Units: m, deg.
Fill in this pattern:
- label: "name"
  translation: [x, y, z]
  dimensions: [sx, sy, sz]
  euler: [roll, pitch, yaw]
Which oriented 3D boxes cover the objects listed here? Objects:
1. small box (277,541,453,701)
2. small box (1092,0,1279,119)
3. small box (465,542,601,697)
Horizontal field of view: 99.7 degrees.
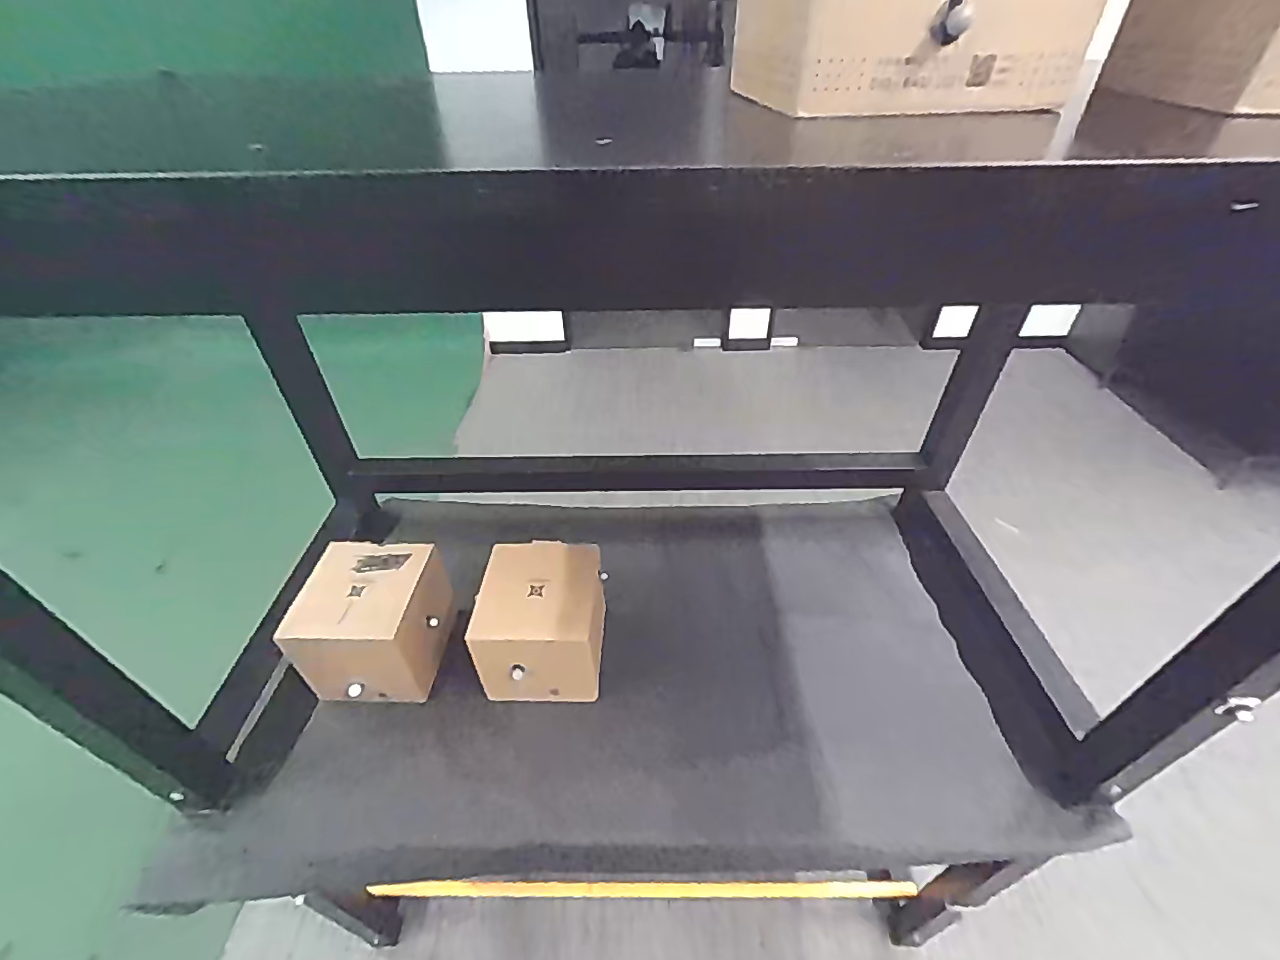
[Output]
- label: "small box"
  translation: [-0.402, 0.214, 0.832]
  dimensions: [0.168, 0.176, 0.179]
  euler: [0, 41, 1]
- label: "small box"
  translation: [0.408, -0.300, 0.294]
  dimensions: [0.168, 0.176, 0.179]
  euler: [7, 41, 9]
- label: "small box"
  translation: [-0.149, 0.215, 0.831]
  dimensions: [0.168, 0.176, 0.179]
  euler: [0, 40, 1]
